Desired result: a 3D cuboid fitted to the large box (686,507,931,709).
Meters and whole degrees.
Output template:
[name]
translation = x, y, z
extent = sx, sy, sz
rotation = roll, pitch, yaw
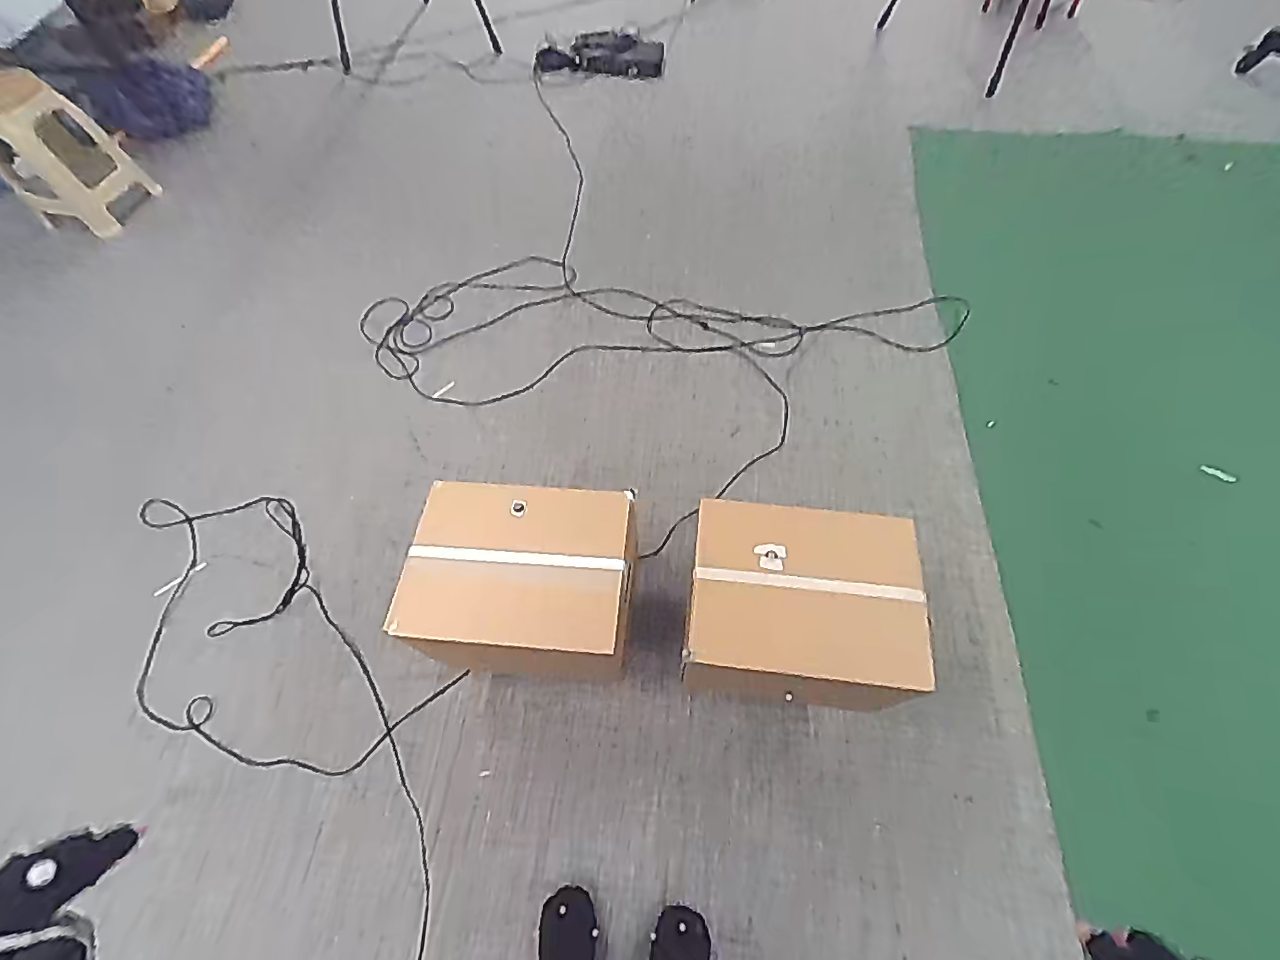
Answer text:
[large box]
translation = 0.310, 0.273, 1.109
extent = 0.408, 0.320, 0.320
rotation = 5, 61, 6
